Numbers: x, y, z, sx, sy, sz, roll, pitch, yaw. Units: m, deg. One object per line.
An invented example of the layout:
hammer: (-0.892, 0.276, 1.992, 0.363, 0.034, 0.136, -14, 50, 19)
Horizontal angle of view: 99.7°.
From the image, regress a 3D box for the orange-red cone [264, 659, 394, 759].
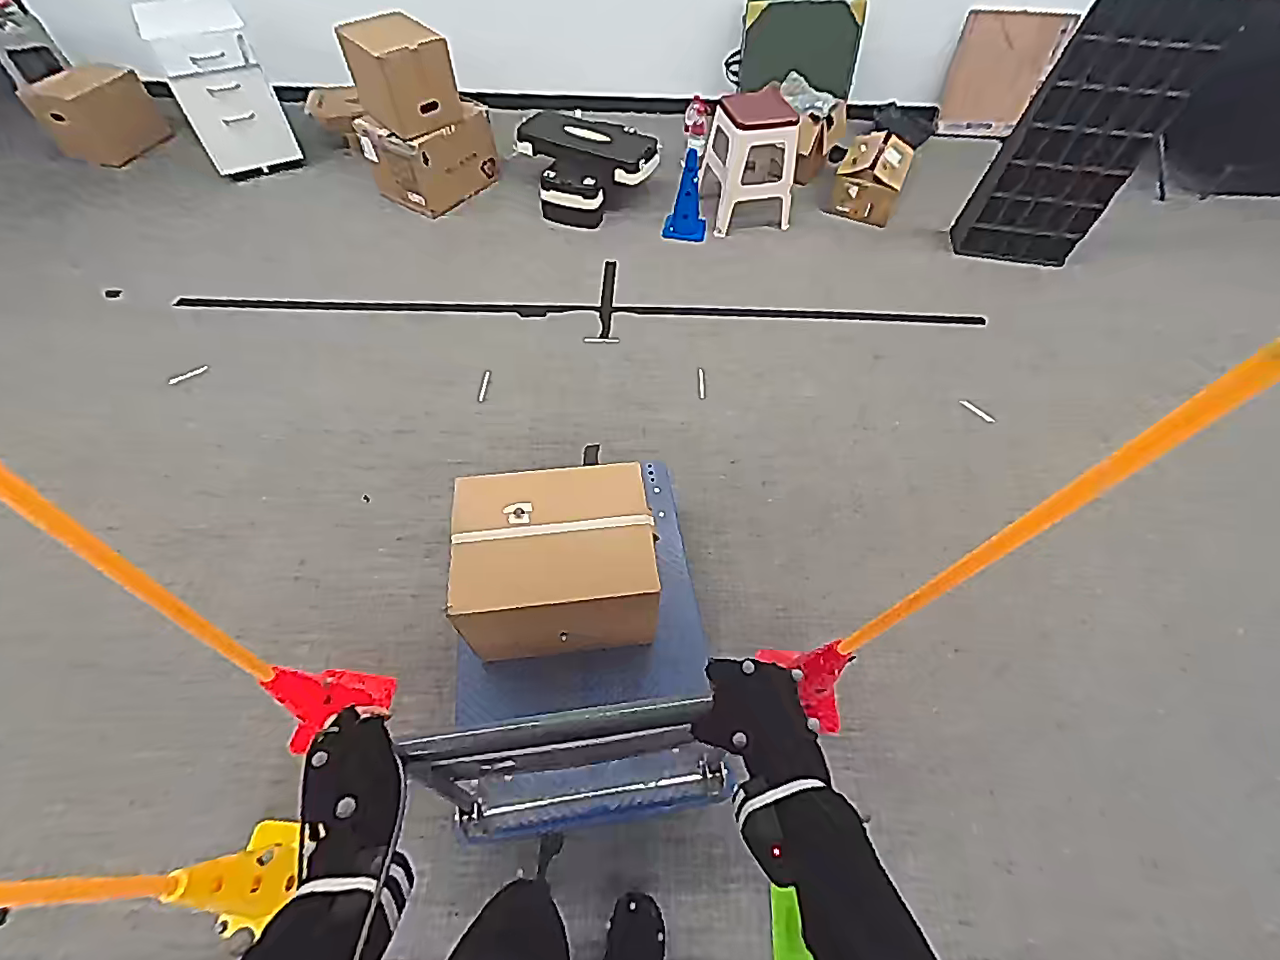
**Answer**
orange-red cone: (-0.725, 0.467, 1.196, 0.198, 0.360, 0.199, 9, 54, 3)

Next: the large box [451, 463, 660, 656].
large box: (-0.181, 0.188, 1.233, 0.408, 0.320, 0.320, -5, 56, -5)

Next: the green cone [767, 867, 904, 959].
green cone: (0.374, 0.835, 0.980, 0.202, 0.368, 0.200, 6, 55, 1)

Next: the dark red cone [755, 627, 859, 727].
dark red cone: (0.408, 0.428, 1.243, 0.201, 0.394, 0.202, 3, 55, -2)
